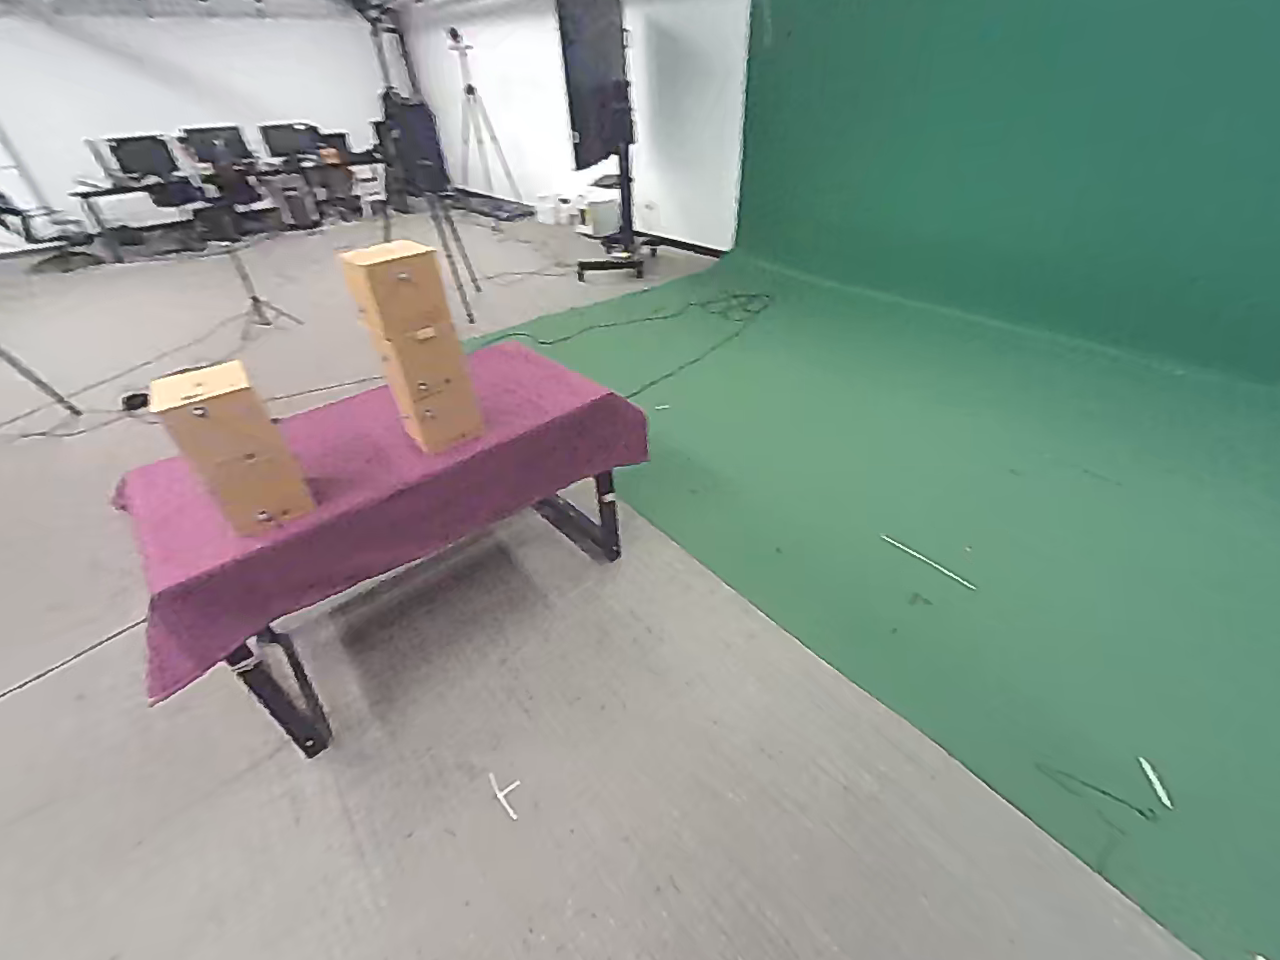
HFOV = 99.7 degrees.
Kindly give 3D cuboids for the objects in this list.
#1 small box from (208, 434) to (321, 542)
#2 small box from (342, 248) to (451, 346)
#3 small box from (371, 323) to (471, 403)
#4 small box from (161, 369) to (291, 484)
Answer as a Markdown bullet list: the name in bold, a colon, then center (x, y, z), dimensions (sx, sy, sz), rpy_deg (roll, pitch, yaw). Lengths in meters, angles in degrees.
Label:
- **small box**: center (-0.882, 0.015, 1.270), dimensions (0.168, 0.176, 0.179), rpy_deg (-26, 42, -26)
- **small box**: center (-0.582, -0.447, 1.315), dimensions (0.179, 0.176, 0.168), rpy_deg (-32, 44, -31)
- **small box**: center (-0.567, -0.317, 1.412), dimensions (0.168, 0.176, 0.179), rpy_deg (-30, 42, -31)
- **small box**: center (-0.892, -0.117, 1.172), dimensions (0.168, 0.176, 0.179), rpy_deg (-27, 41, -26)
